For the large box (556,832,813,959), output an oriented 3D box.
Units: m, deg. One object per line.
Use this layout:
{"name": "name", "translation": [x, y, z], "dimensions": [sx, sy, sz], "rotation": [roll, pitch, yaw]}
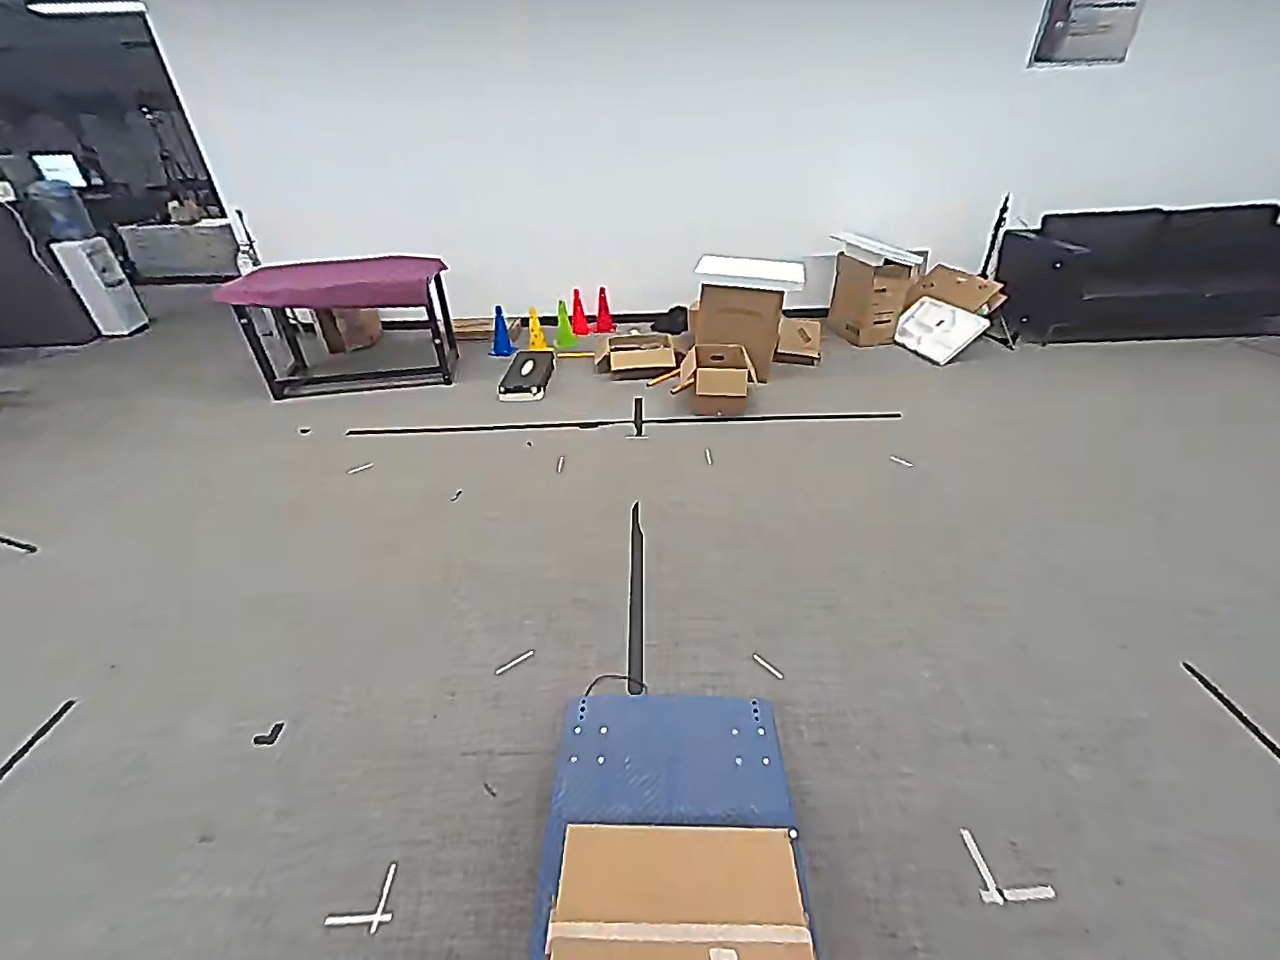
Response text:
{"name": "large box", "translation": [0.068, 0.850, 0.935], "dimensions": [0.408, 0.320, 0.320], "rotation": [0, 34, 1]}
